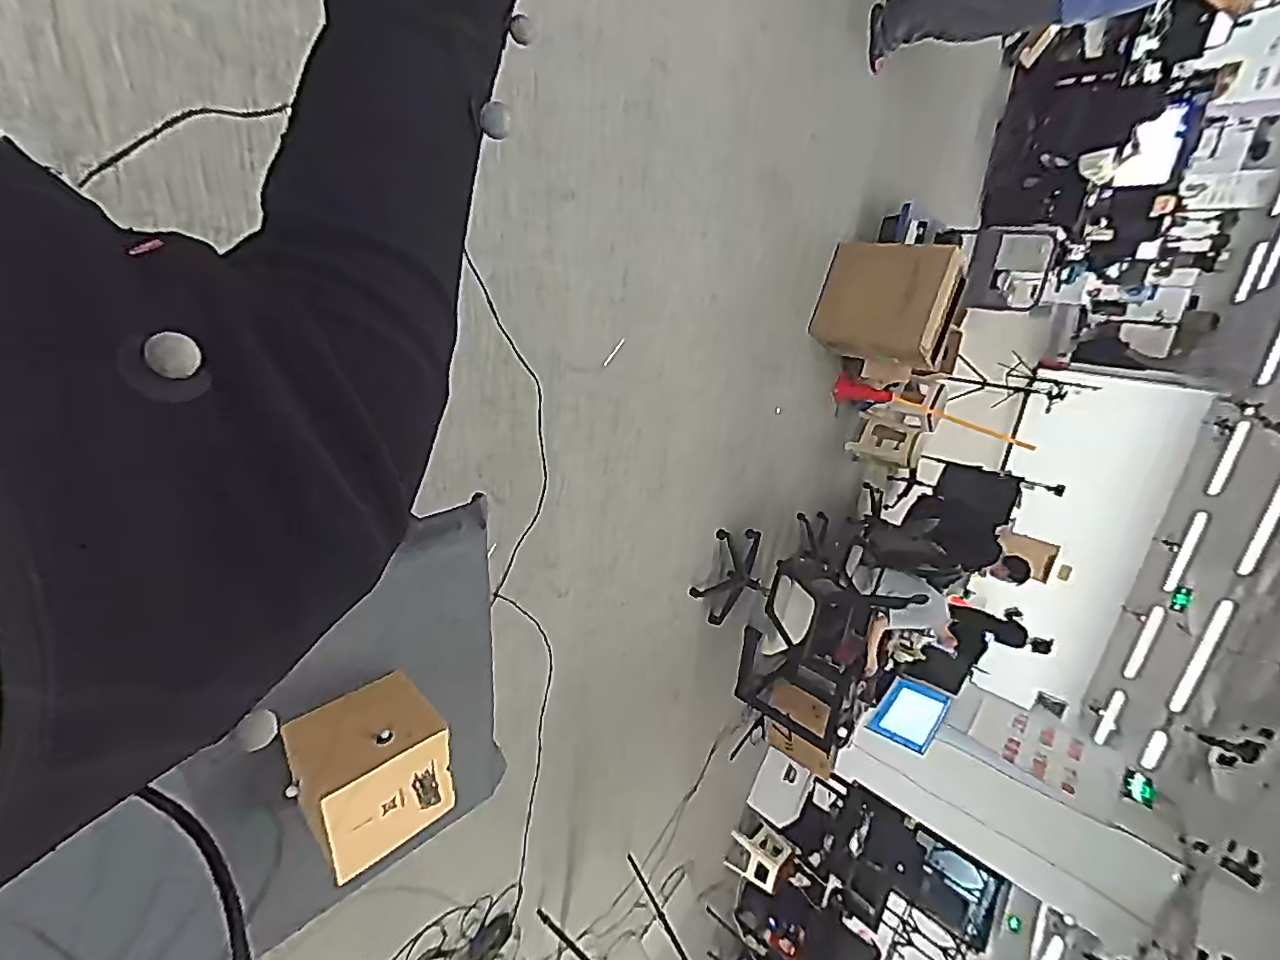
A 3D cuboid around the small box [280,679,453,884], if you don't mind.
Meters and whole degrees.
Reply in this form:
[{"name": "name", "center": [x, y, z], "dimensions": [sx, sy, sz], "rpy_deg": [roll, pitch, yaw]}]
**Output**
[{"name": "small box", "center": [-0.410, 0.438, 0.820], "dimensions": [0.179, 0.176, 0.168], "rpy_deg": [-18, 119, -44]}]
